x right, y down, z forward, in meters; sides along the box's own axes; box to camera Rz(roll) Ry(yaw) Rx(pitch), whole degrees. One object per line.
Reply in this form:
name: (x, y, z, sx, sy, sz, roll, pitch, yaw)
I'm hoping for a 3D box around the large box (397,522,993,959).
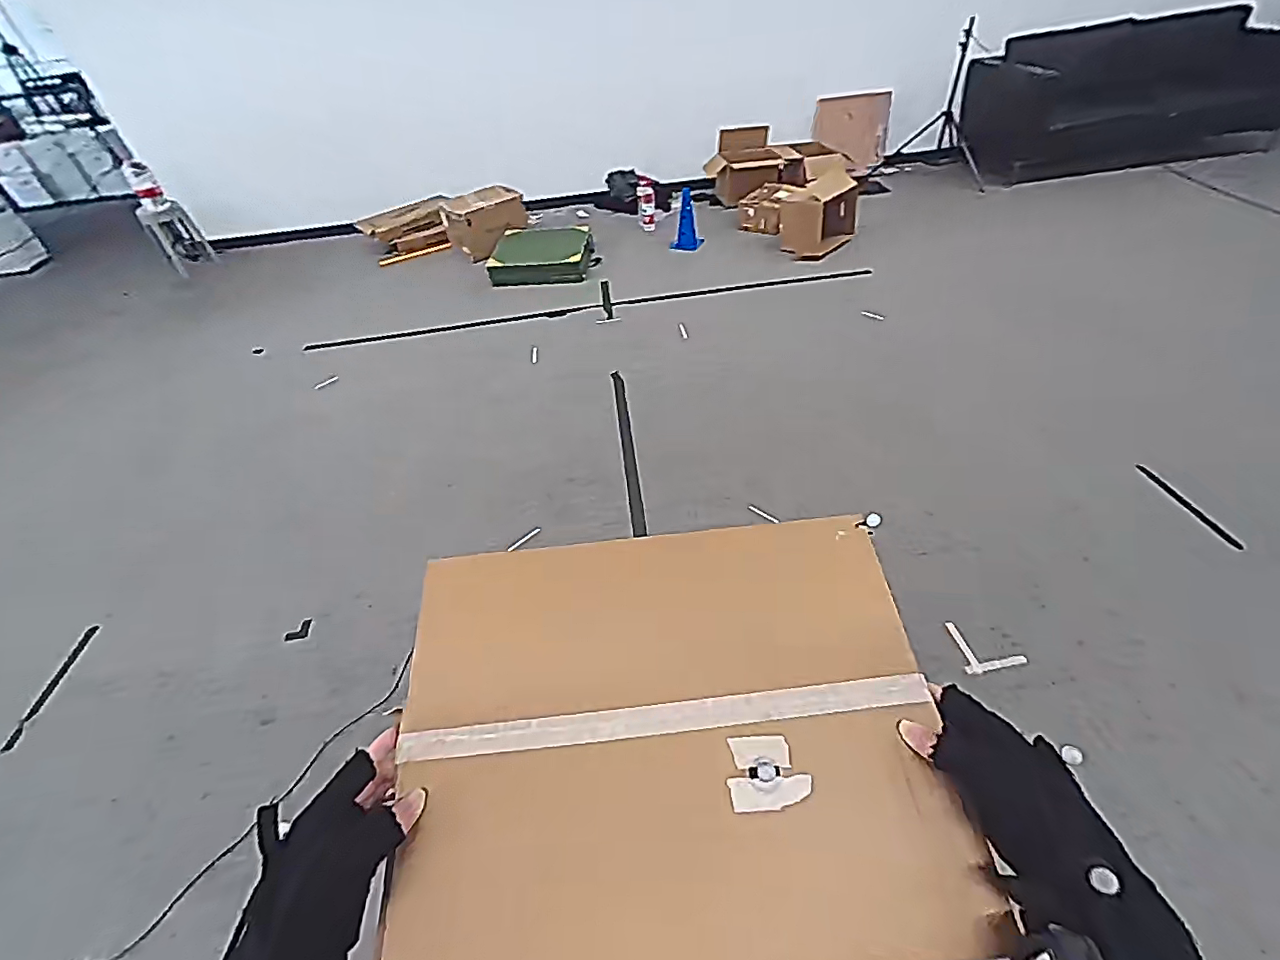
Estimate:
large box: (0.027, 0.273, 0.554, 0.408, 0.320, 0.320, -7, 57, -1)
